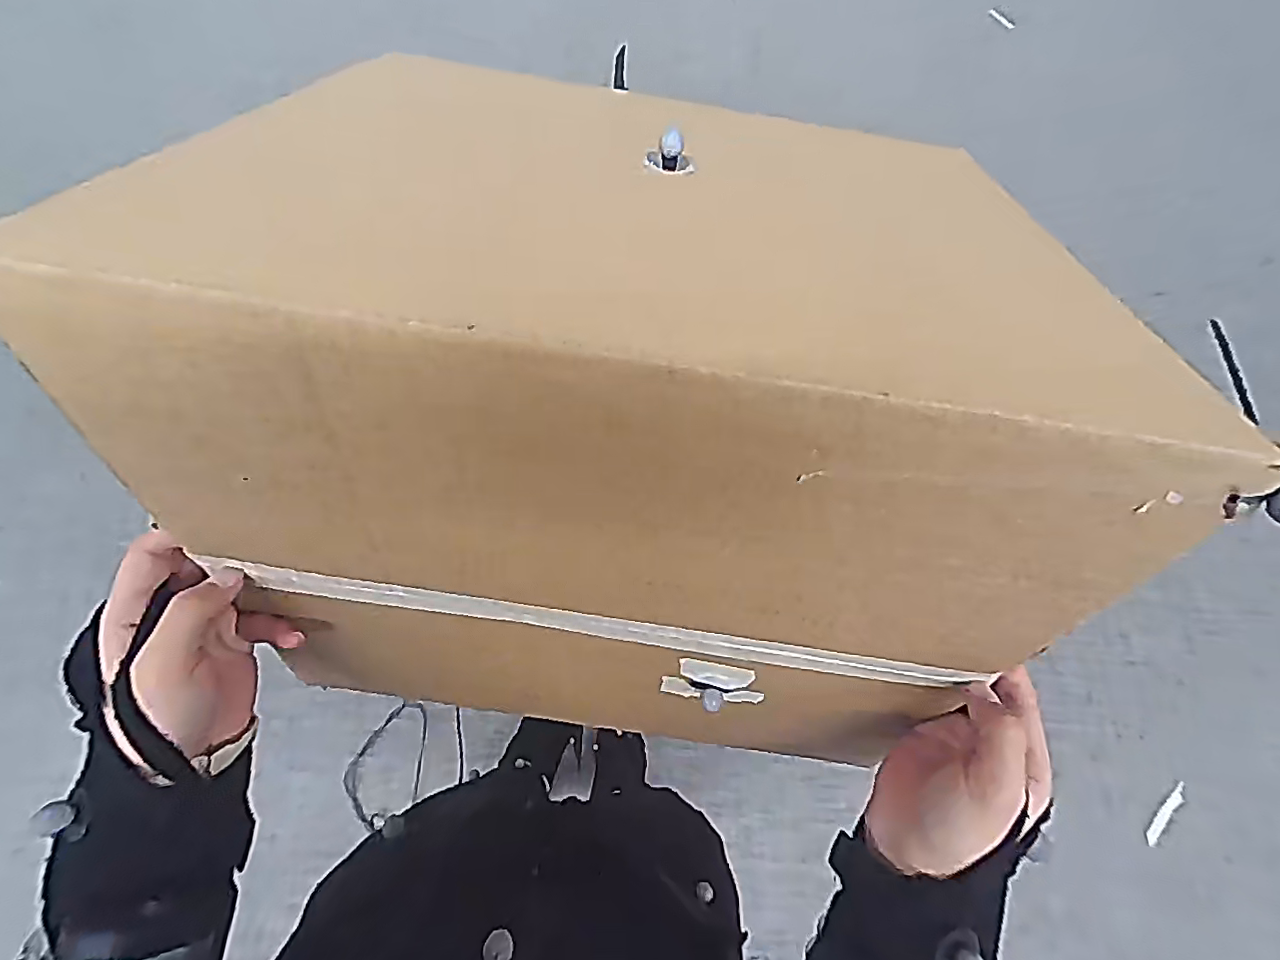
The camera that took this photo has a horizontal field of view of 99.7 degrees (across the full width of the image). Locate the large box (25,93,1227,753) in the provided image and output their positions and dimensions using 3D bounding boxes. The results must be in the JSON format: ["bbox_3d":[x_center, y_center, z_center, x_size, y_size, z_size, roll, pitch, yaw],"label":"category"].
[{"bbox_3d":[-0.008,-0.039,0.383,0.408,0.320,0.320,8,48,-1],"label":"large box"}]
